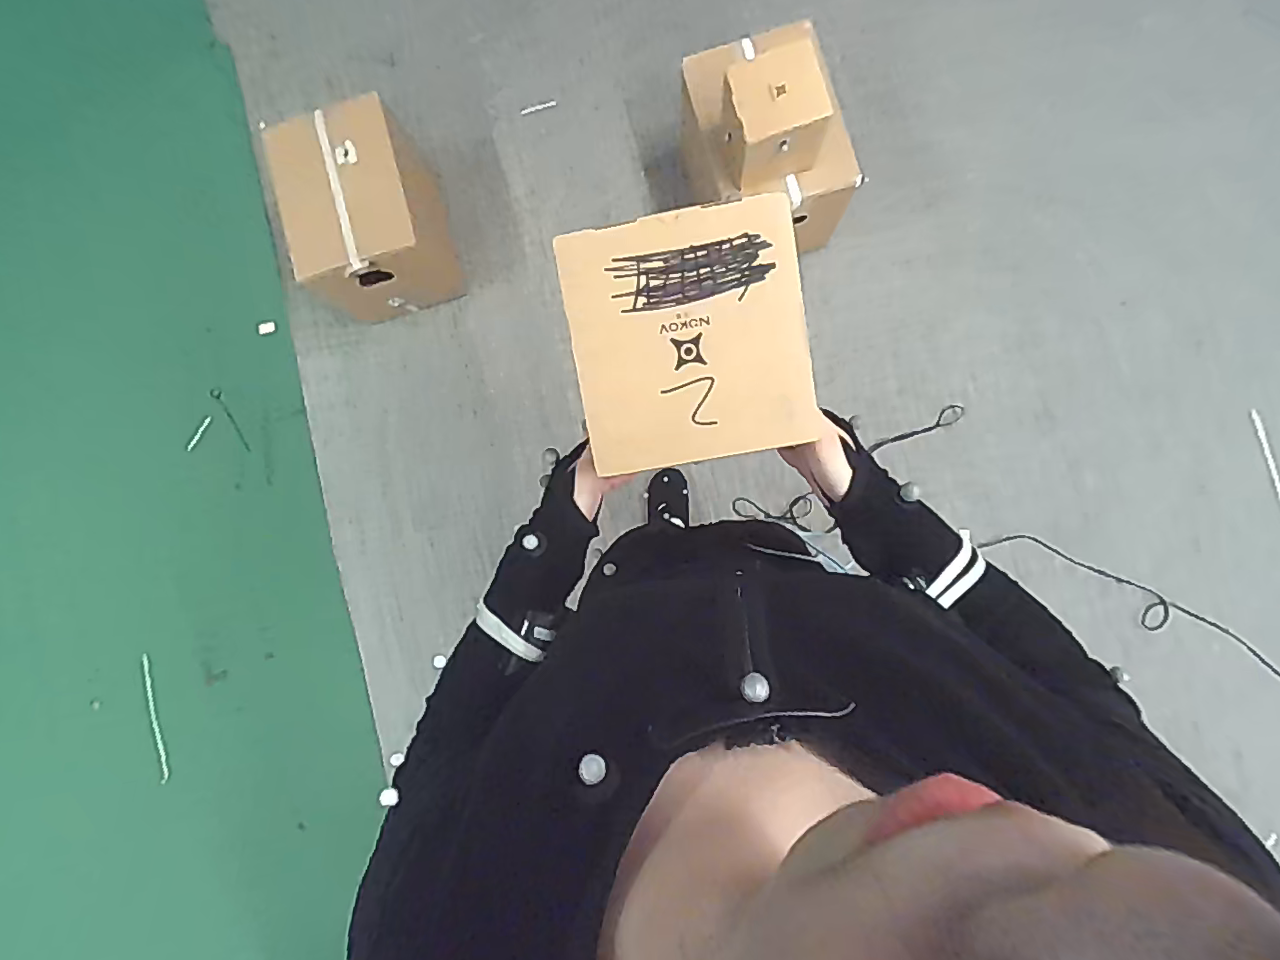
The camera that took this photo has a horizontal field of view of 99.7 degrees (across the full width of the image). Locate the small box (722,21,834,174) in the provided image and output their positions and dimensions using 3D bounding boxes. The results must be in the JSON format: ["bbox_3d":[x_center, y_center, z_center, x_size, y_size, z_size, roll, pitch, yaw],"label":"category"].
[{"bbox_3d":[0.276,-0.778,1.119,0.179,0.176,0.168,-16,88,6],"label":"small box"}]

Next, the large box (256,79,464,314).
[{"bbox_3d":[-0.716,-0.717,1.432,0.320,0.320,0.408,-16,87,4],"label":"large box"}]
